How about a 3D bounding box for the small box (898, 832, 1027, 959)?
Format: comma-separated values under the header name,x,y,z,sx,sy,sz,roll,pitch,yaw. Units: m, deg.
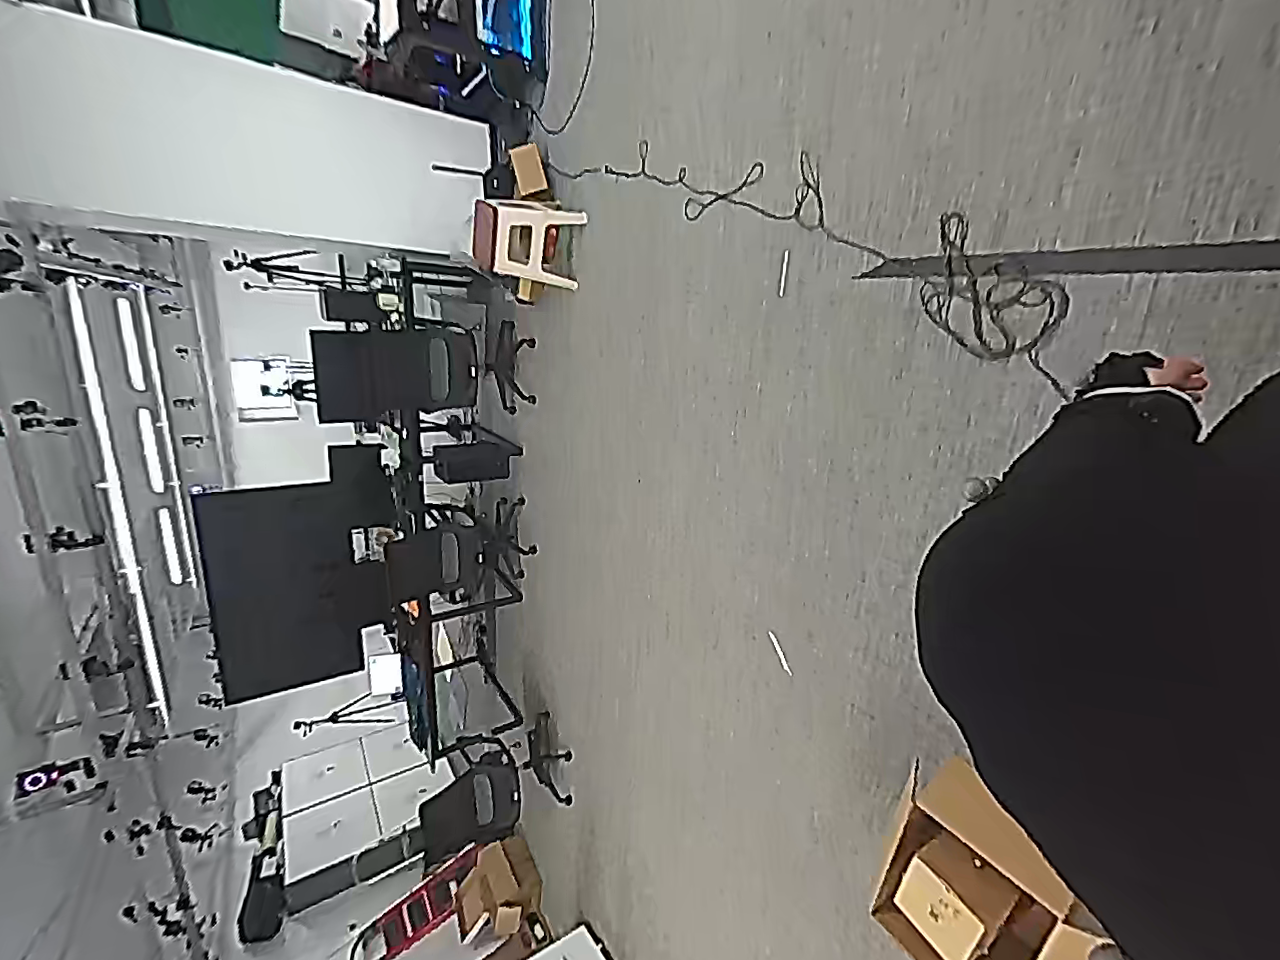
name,x,y,z,sx,sy,sz,roll,pitch,yaw
small box,0.728,0.953,1.223,0.168,0.176,0.179,37,127,51
